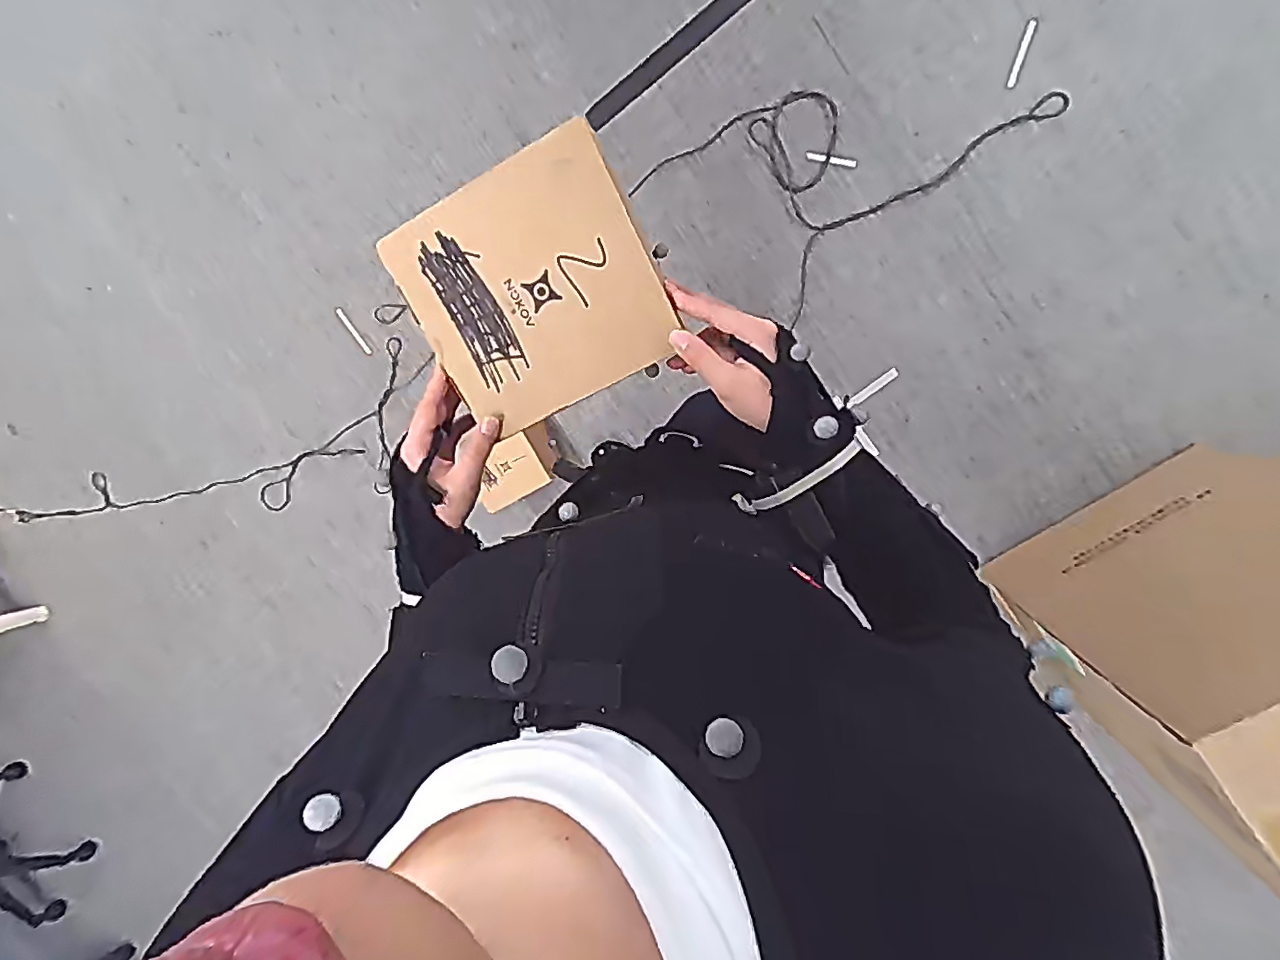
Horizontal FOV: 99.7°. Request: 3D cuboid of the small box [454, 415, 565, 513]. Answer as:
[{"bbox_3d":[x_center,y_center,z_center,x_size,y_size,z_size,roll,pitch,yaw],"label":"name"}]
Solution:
[{"bbox_3d":[-0.308,-0.043,1.312,0.179,0.176,0.168,-27,98,11],"label":"small box"}]
